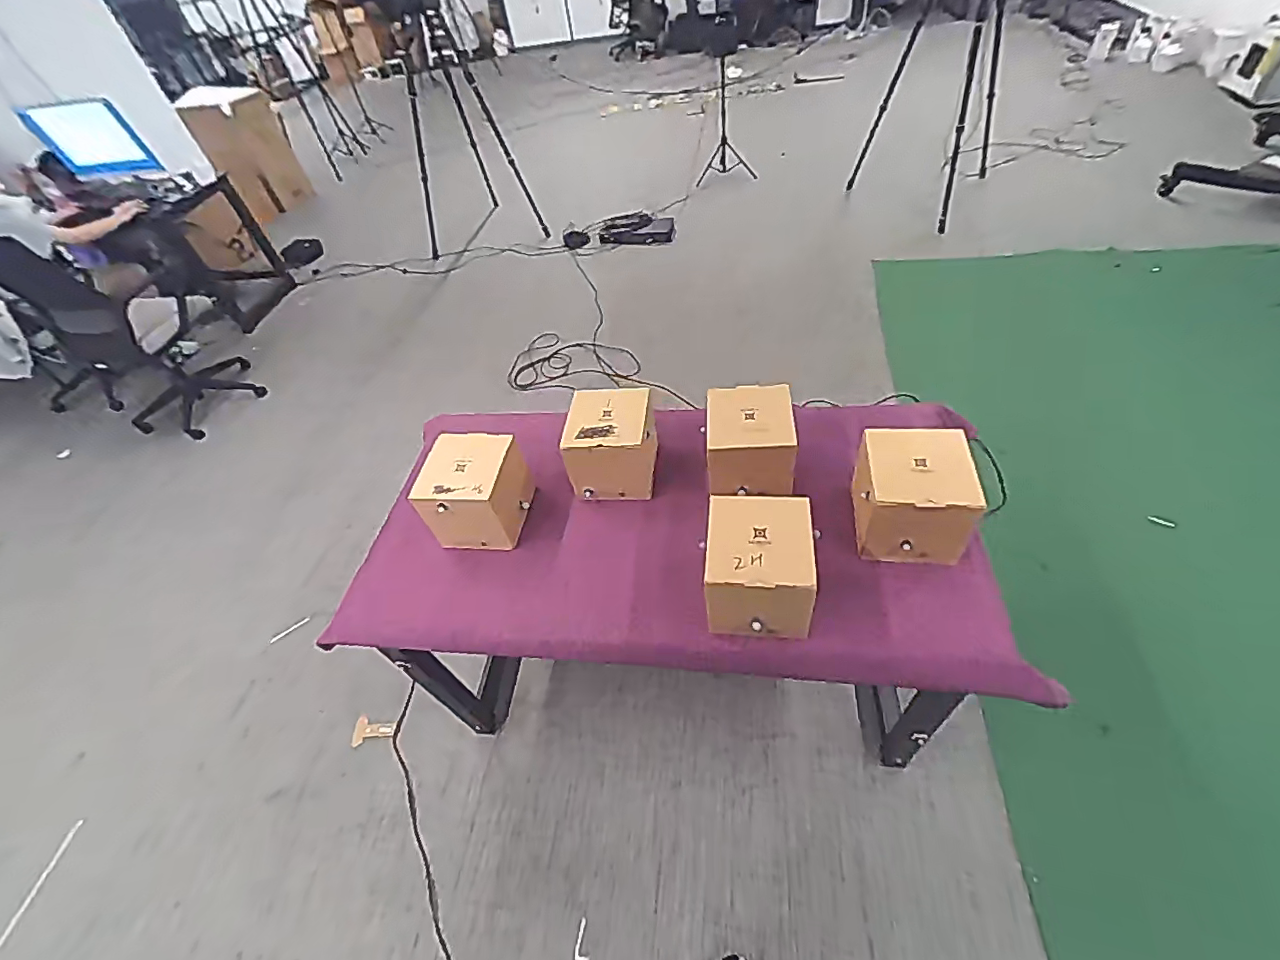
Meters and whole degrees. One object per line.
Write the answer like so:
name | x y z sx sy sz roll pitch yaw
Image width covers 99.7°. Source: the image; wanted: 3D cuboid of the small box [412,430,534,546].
small box | -0.333 0.015 1.122 0.168 0.176 0.179 1 49 10

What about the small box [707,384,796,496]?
small box | 0.224 -0.076 1.109 0.168 0.176 0.179 -1 50 10

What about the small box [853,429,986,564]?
small box | 0.486 0.028 0.972 0.168 0.176 0.179 1 49 12

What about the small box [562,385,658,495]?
small box | -0.055 -0.081 1.160 0.168 0.176 0.179 0 48 10

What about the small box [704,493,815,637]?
small box | 0.200 0.143 0.918 0.168 0.176 0.179 1 48 12
